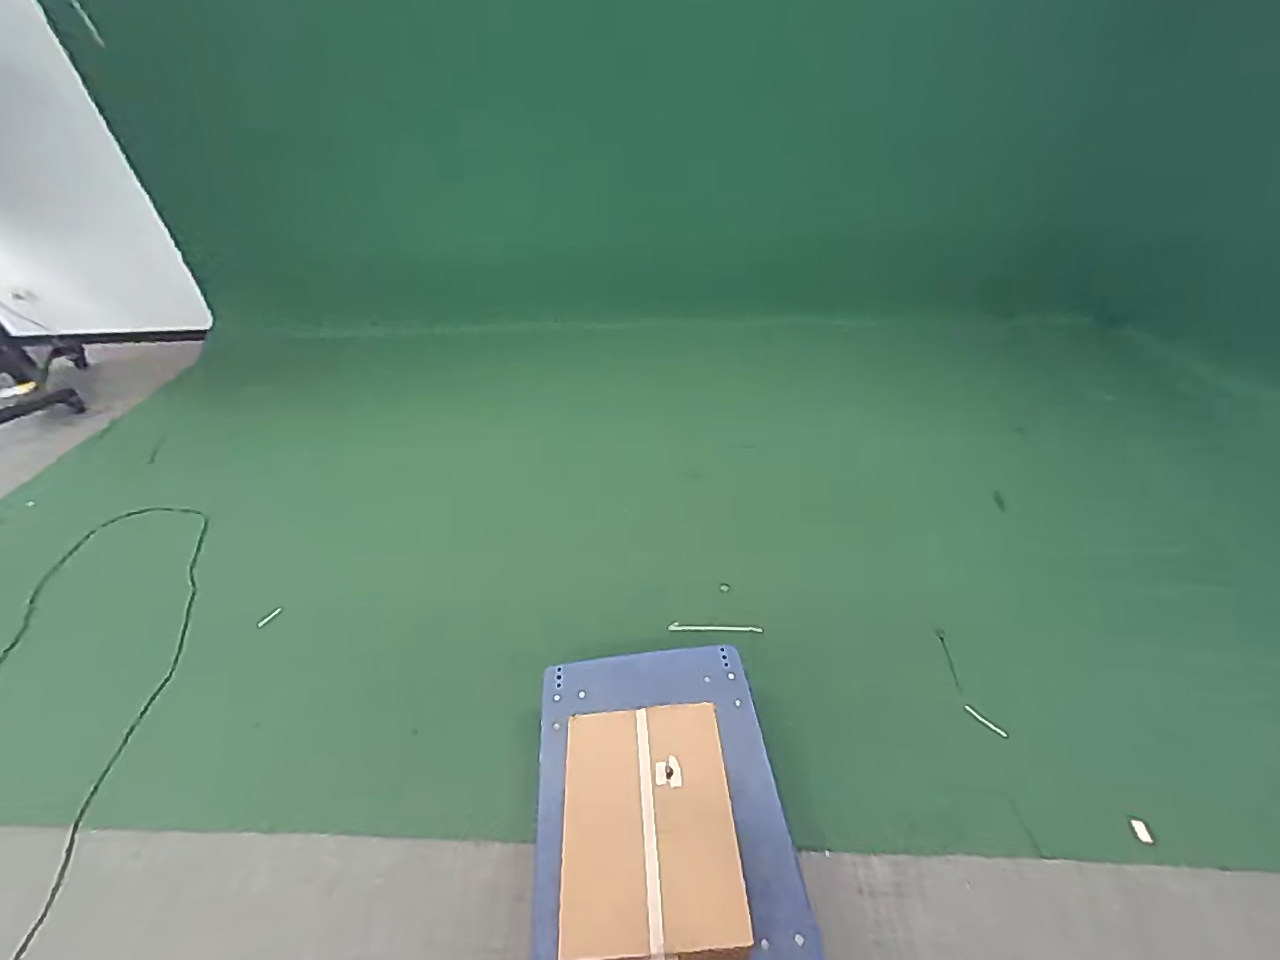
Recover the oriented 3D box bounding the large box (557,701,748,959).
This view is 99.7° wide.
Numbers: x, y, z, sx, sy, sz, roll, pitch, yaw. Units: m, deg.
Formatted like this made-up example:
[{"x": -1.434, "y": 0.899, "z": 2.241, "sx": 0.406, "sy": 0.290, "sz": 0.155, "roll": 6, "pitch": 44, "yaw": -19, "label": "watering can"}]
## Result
[{"x": 0.018, "y": 0.730, "z": 1.103, "sx": 0.320, "sy": 0.320, "sz": 0.408, "roll": -4, "pitch": 39, "yaw": -1, "label": "large box"}]
